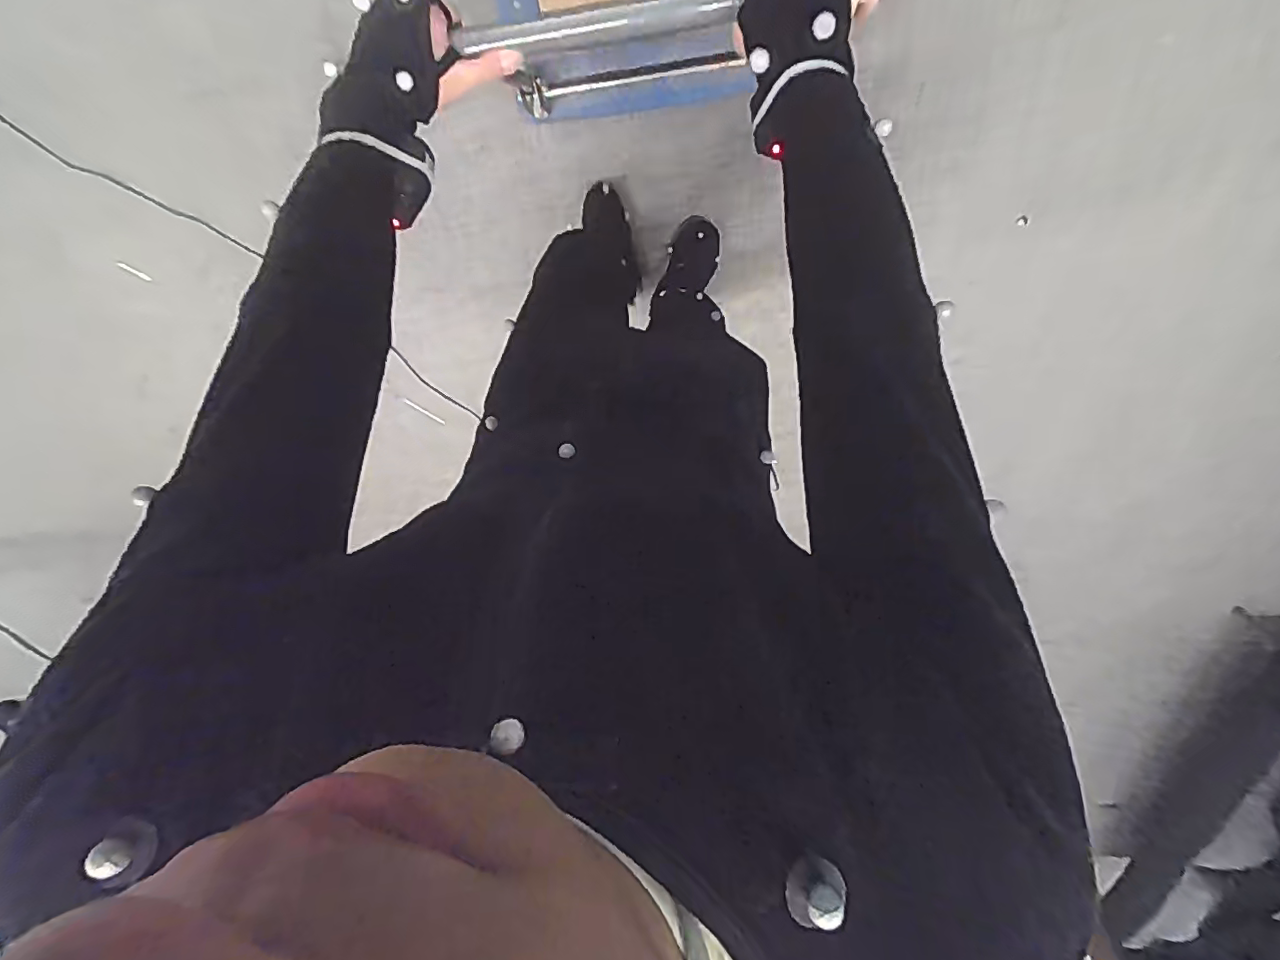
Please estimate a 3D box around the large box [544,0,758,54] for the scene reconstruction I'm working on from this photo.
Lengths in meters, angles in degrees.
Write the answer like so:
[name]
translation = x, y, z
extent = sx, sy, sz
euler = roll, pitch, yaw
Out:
[large box]
translation = 0.010, -0.904, 0.777
extent = 0.320, 0.320, 0.408
euler = -3, 123, 9
